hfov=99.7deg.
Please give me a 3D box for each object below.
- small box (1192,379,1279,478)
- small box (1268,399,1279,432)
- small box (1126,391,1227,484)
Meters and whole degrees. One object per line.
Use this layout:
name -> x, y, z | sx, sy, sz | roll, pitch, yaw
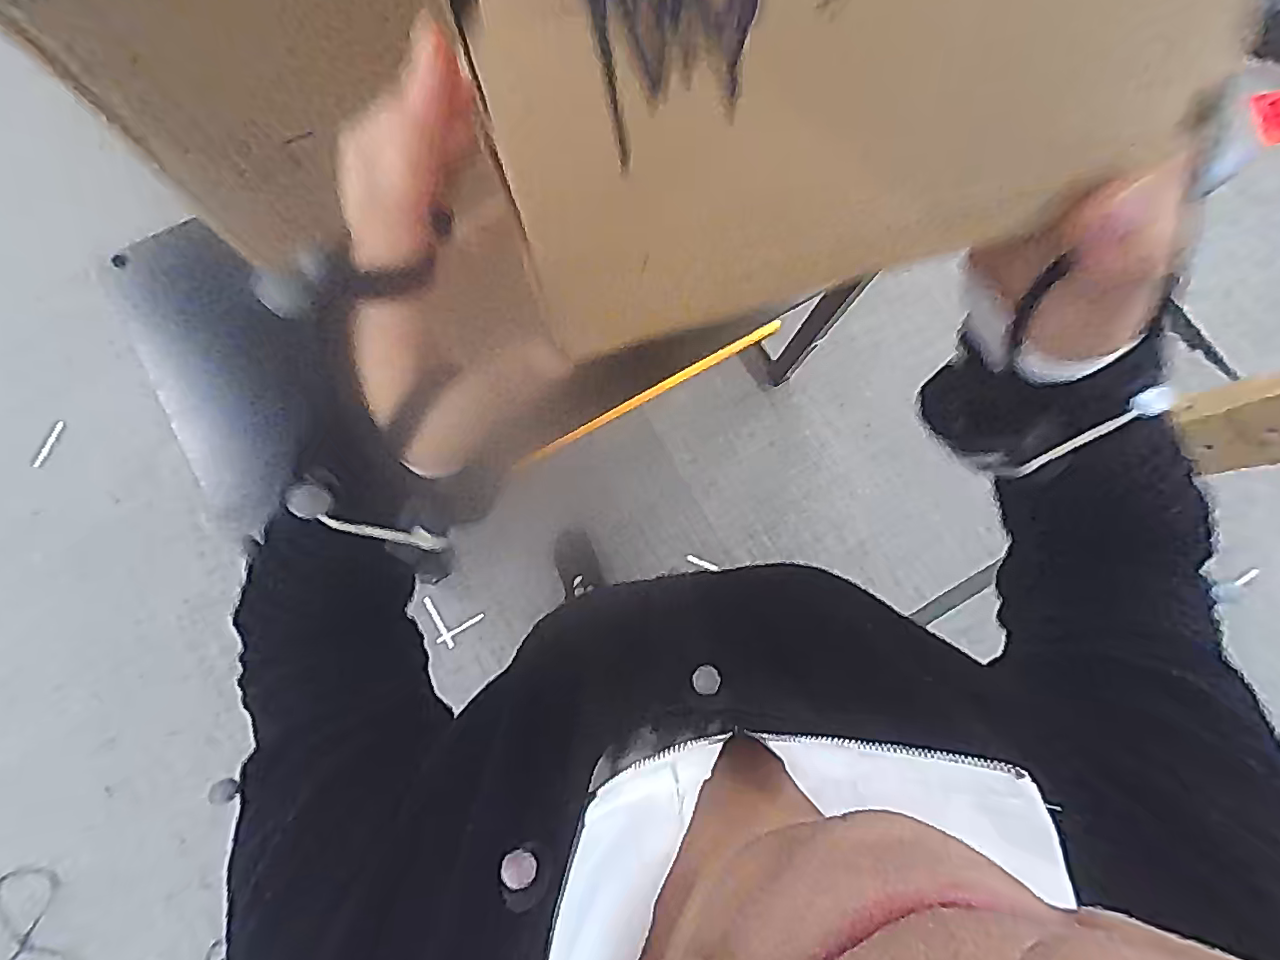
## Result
small box -> 1.531, -0.125, 1.325 | 0.179, 0.176, 0.168 | -37, 83, -8
small box -> 1.546, -0.150, 1.162 | 0.179, 0.176, 0.168 | -33, 82, -8
small box -> 1.515, -0.112, 1.489 | 0.179, 0.176, 0.168 | -37, 83, -7
